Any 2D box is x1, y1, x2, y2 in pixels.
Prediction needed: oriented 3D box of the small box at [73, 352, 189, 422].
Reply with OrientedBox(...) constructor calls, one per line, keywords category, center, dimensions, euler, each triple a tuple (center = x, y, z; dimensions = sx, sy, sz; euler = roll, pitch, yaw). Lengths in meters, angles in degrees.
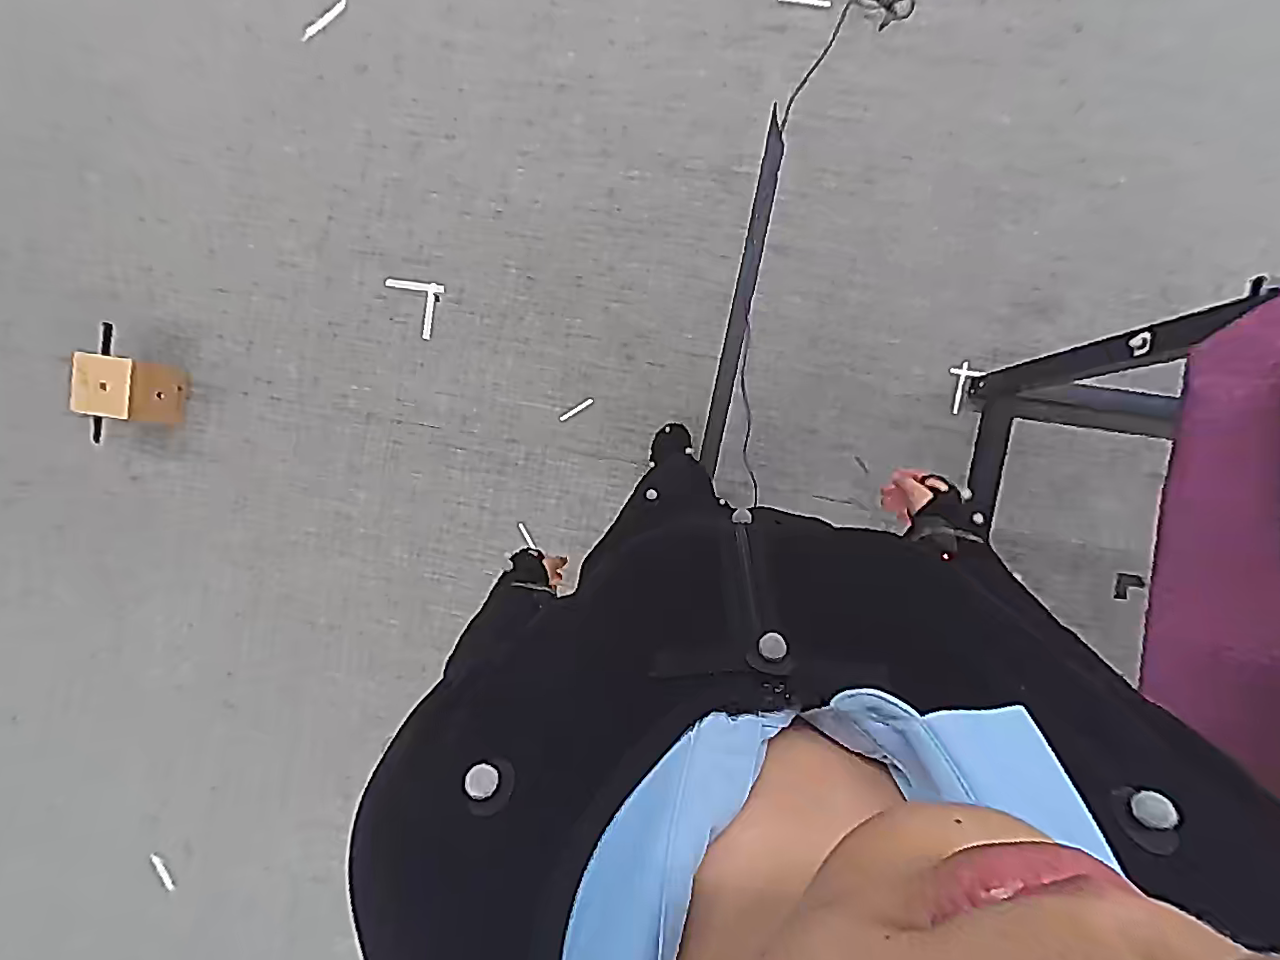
OrientedBox(category="small box", center=(-1.441, -0.258, 1.540), dimensions=(0.179, 0.176, 0.168), euler=(9, 93, 5))
